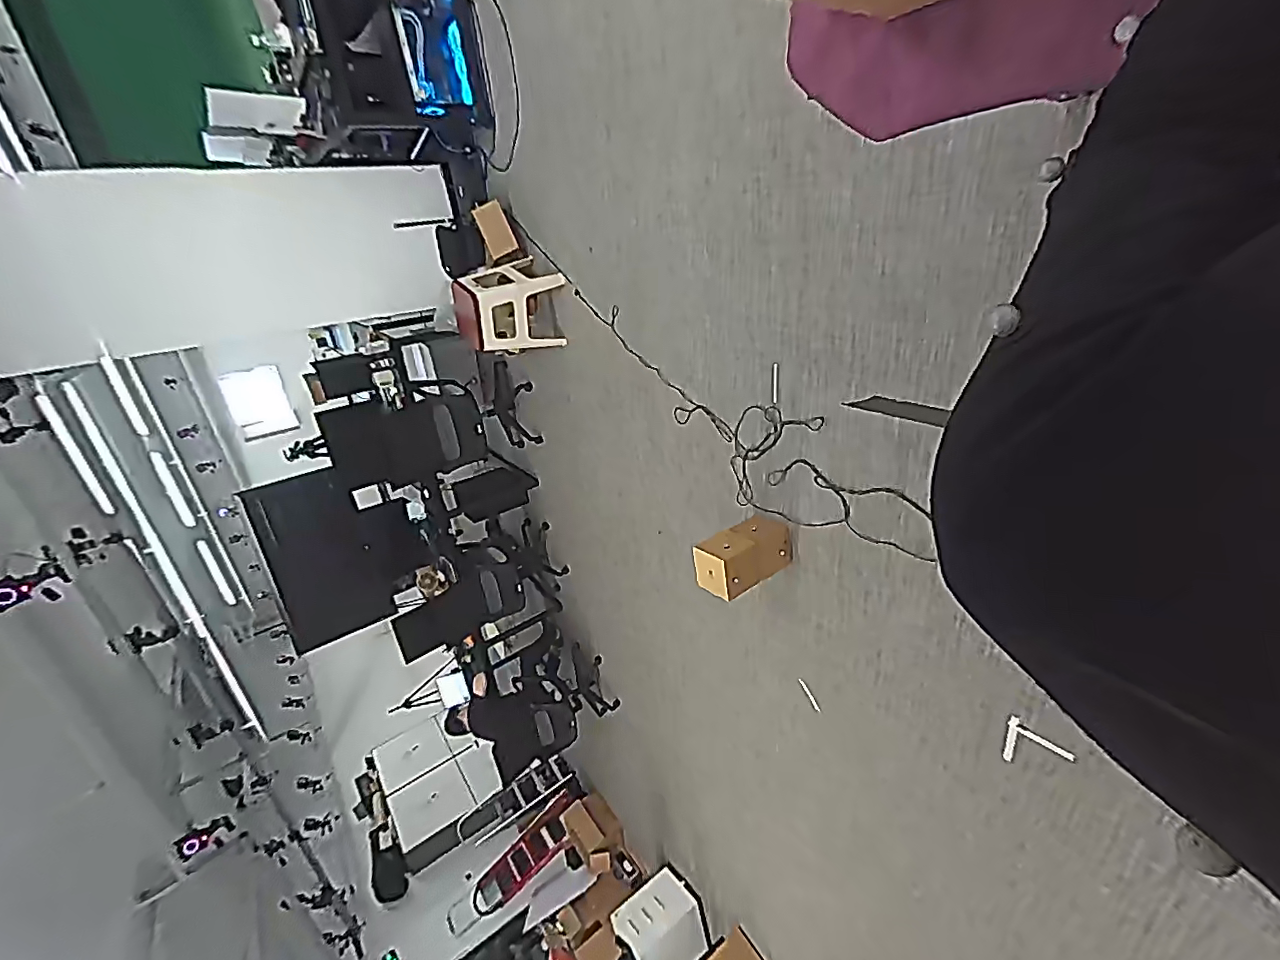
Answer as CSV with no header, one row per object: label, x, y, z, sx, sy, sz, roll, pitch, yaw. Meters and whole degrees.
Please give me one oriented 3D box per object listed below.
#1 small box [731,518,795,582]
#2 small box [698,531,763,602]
small box,0.470,0.262,2.077,0.179,0.176,0.168,17,124,53
small box,0.338,0.312,1.997,0.168,0.176,0.179,20,127,52
